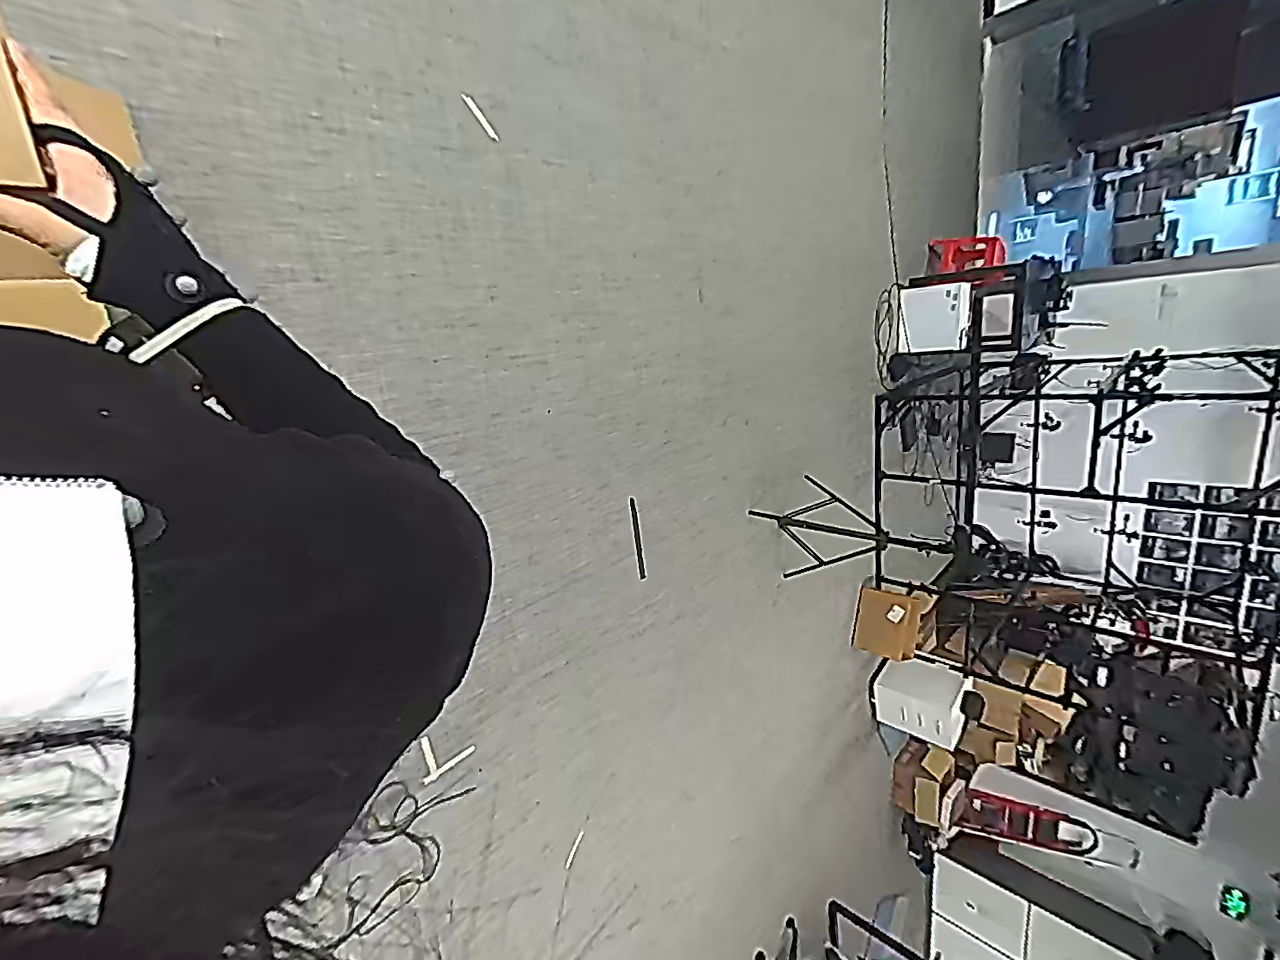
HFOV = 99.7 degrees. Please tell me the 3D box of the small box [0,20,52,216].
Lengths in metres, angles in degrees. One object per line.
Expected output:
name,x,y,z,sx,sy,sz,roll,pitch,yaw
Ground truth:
small box,-0.496,-0.267,0.321,0.168,0.176,0.179,-18,117,-43
